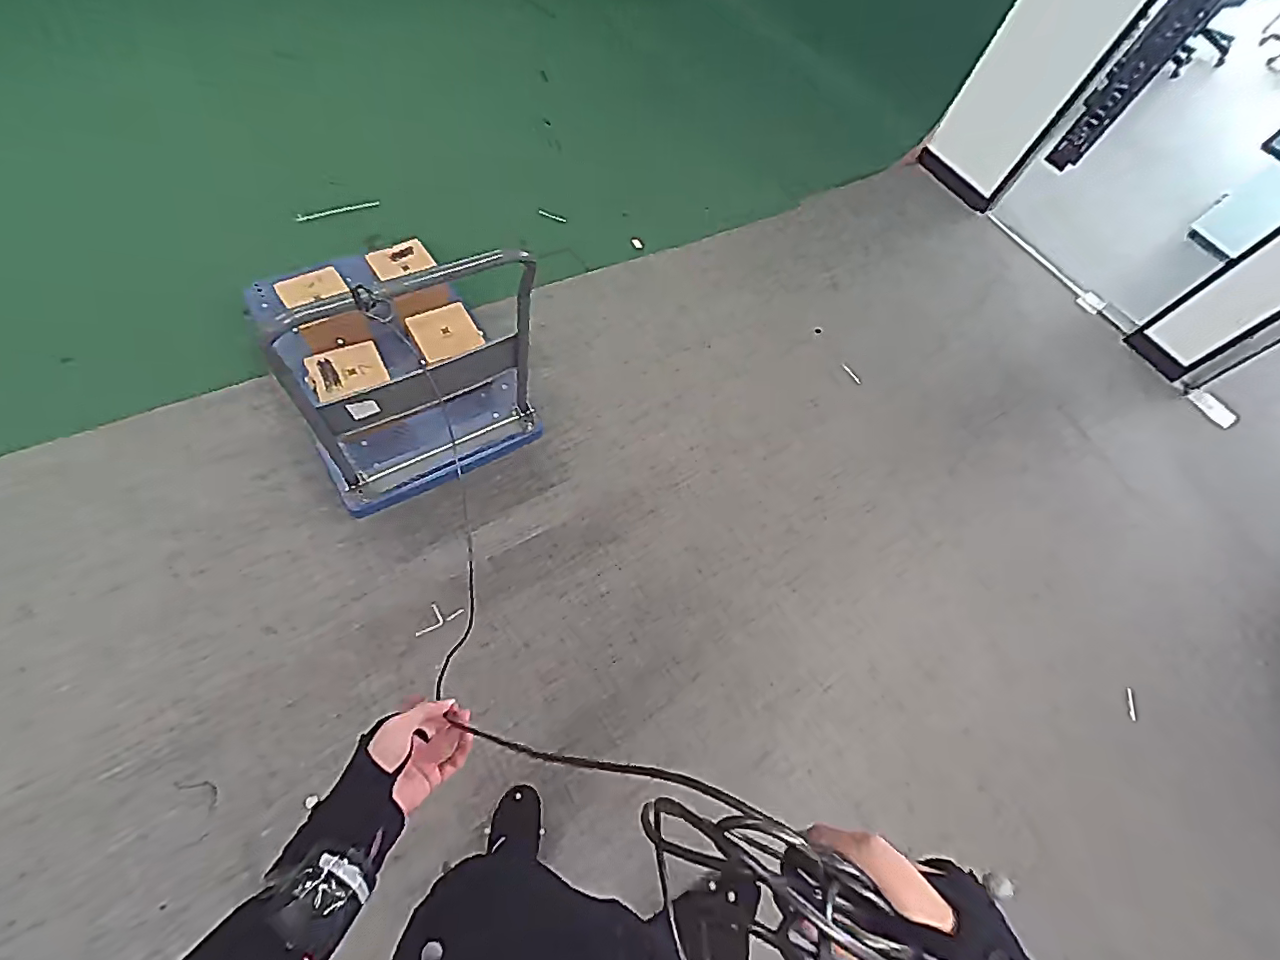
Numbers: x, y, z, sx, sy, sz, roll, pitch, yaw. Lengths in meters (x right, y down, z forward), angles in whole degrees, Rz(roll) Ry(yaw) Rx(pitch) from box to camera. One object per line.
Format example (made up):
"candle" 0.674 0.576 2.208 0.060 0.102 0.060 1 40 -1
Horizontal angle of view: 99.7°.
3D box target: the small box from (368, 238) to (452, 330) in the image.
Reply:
"small box" -0.692 -0.593 1.646 0.168 0.176 0.179 -31 74 -22

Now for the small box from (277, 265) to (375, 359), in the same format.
"small box" -0.889 -0.471 1.548 0.168 0.176 0.179 -31 73 -24

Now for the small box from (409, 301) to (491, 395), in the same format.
"small box" -0.546 -0.378 1.568 0.168 0.176 0.179 -26 72 -22
